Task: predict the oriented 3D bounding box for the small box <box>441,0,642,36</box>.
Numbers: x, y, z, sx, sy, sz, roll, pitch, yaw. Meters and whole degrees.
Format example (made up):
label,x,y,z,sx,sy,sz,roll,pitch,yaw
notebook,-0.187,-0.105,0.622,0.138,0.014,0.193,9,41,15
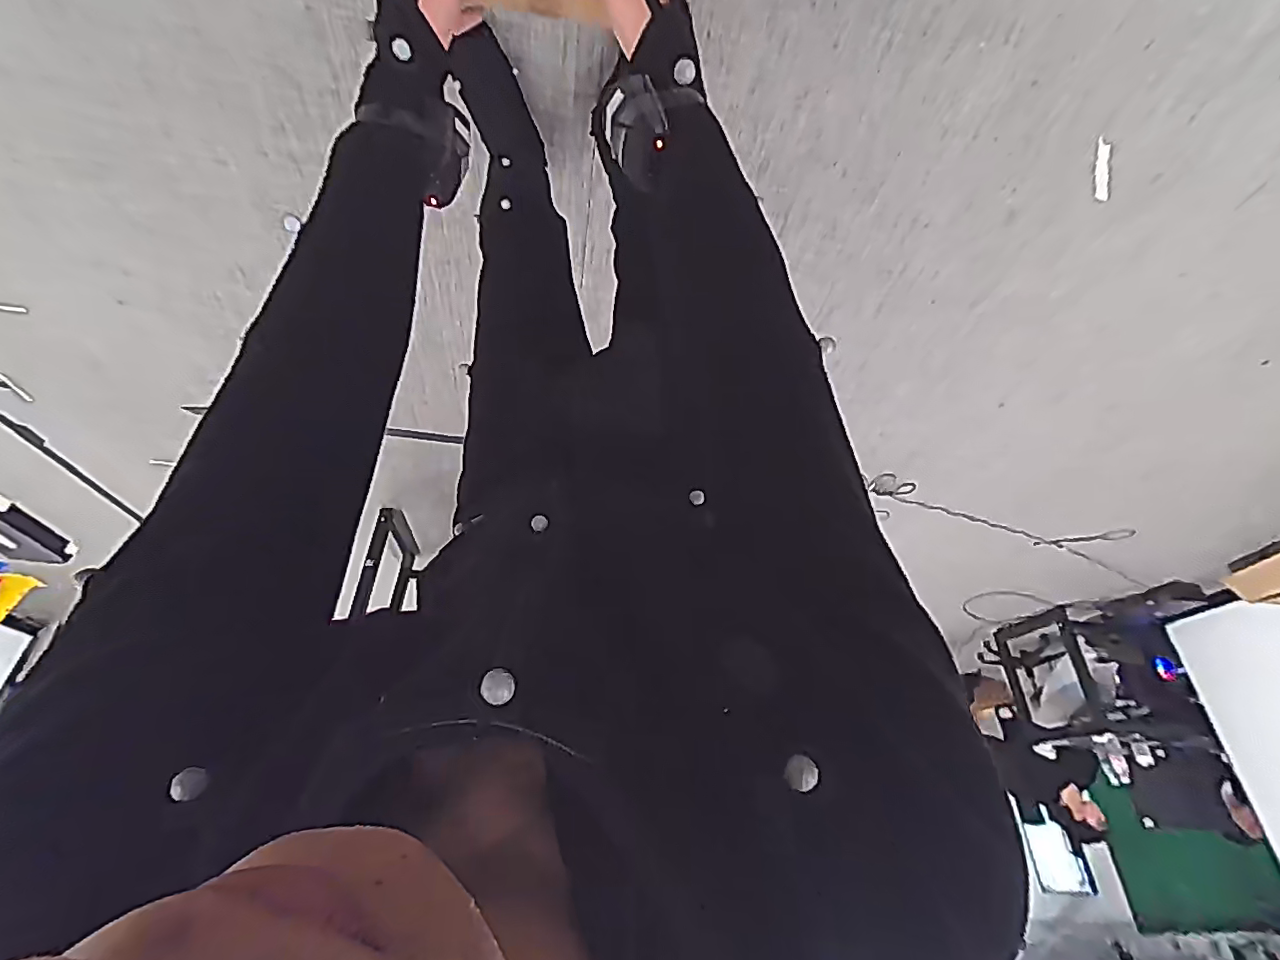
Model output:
label,x,y,z,sx,sy,sz,roll,pitch,yaw
small box,-0.076,-0.515,0.449,0.179,0.176,0.168,6,147,-6
